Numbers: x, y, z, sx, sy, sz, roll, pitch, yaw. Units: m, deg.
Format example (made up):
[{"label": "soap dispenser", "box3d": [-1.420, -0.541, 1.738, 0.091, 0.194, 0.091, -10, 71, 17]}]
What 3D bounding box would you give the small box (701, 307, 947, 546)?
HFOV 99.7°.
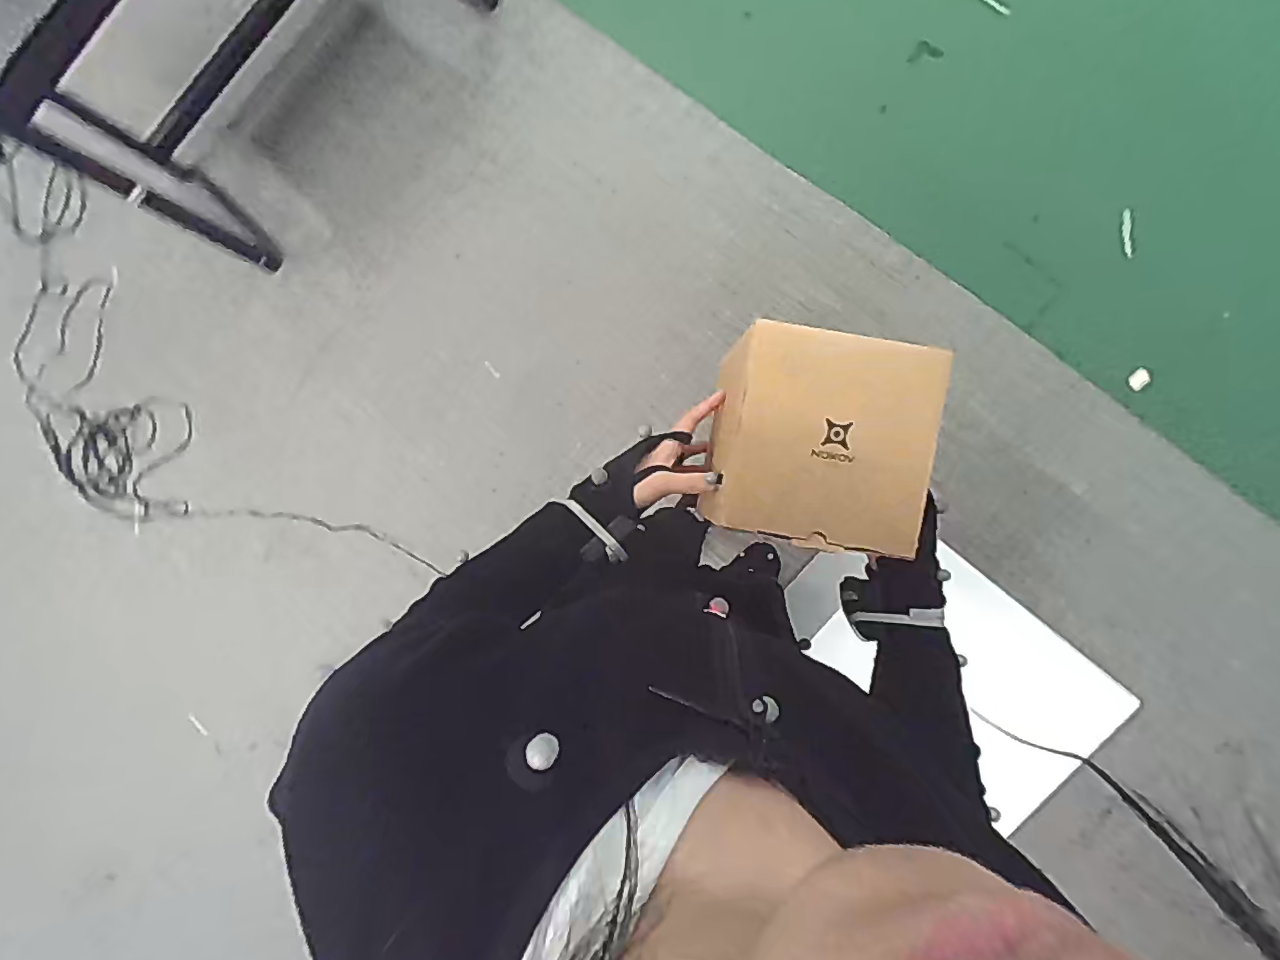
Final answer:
[{"label": "small box", "box3d": [0.155, -0.044, 0.513, 0.168, 0.176, 0.179, 7, 92, 0]}]
